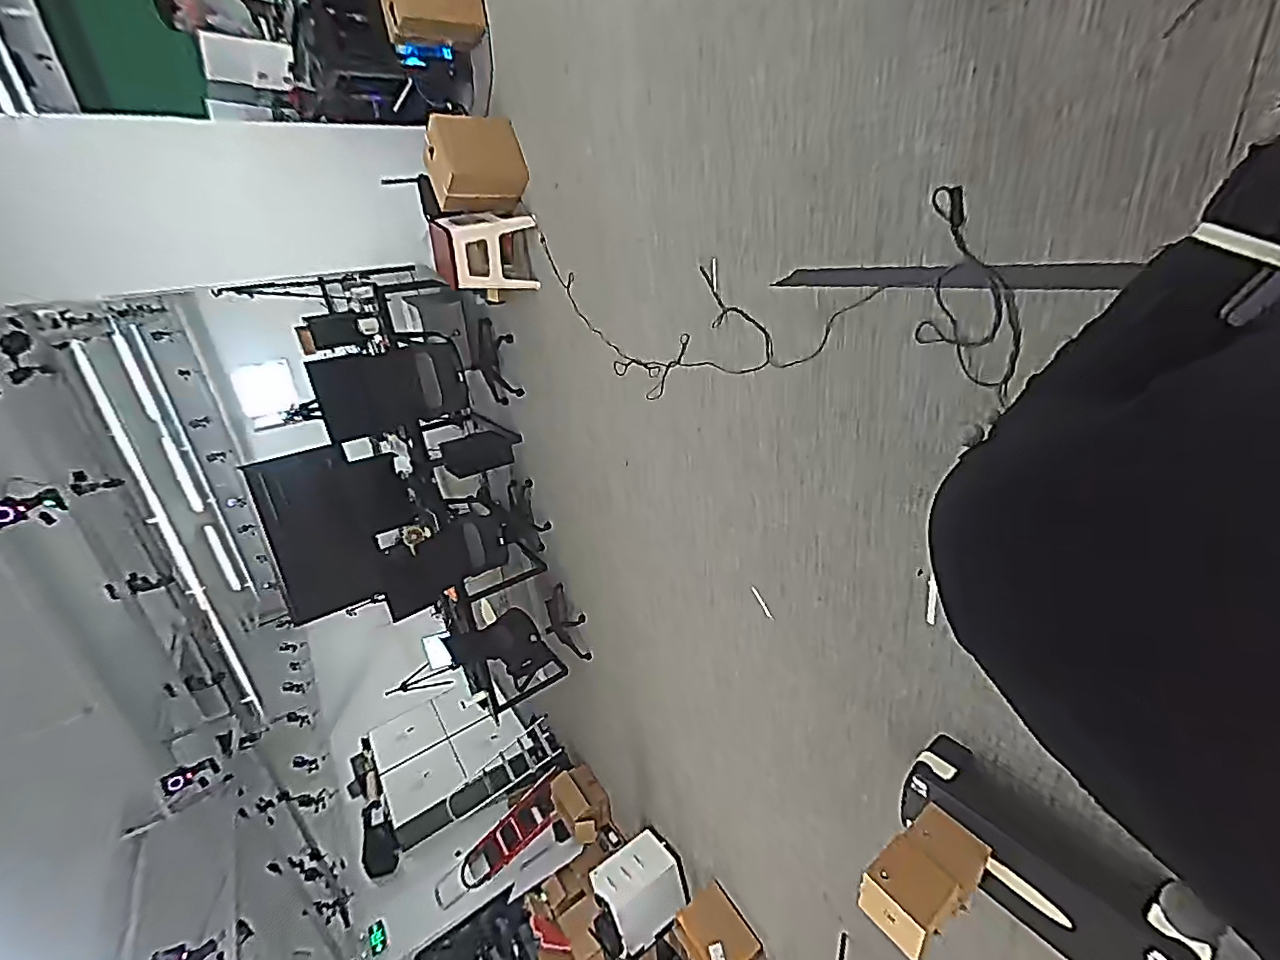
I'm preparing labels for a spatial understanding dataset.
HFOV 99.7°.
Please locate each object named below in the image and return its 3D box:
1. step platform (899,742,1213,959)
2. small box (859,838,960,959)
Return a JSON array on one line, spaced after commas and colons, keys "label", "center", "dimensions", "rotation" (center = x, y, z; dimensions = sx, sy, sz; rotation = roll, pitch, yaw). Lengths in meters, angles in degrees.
[{"label": "step platform", "center": [1.087, 1.083, 1.513], "dimensions": [0.684, 0.204, 0.286], "rotation": [25, 129, 50]}, {"label": "small box", "center": [0.725, 1.125, 1.456], "dimensions": [0.179, 0.176, 0.168], "rotation": [30, 132, 49]}]
